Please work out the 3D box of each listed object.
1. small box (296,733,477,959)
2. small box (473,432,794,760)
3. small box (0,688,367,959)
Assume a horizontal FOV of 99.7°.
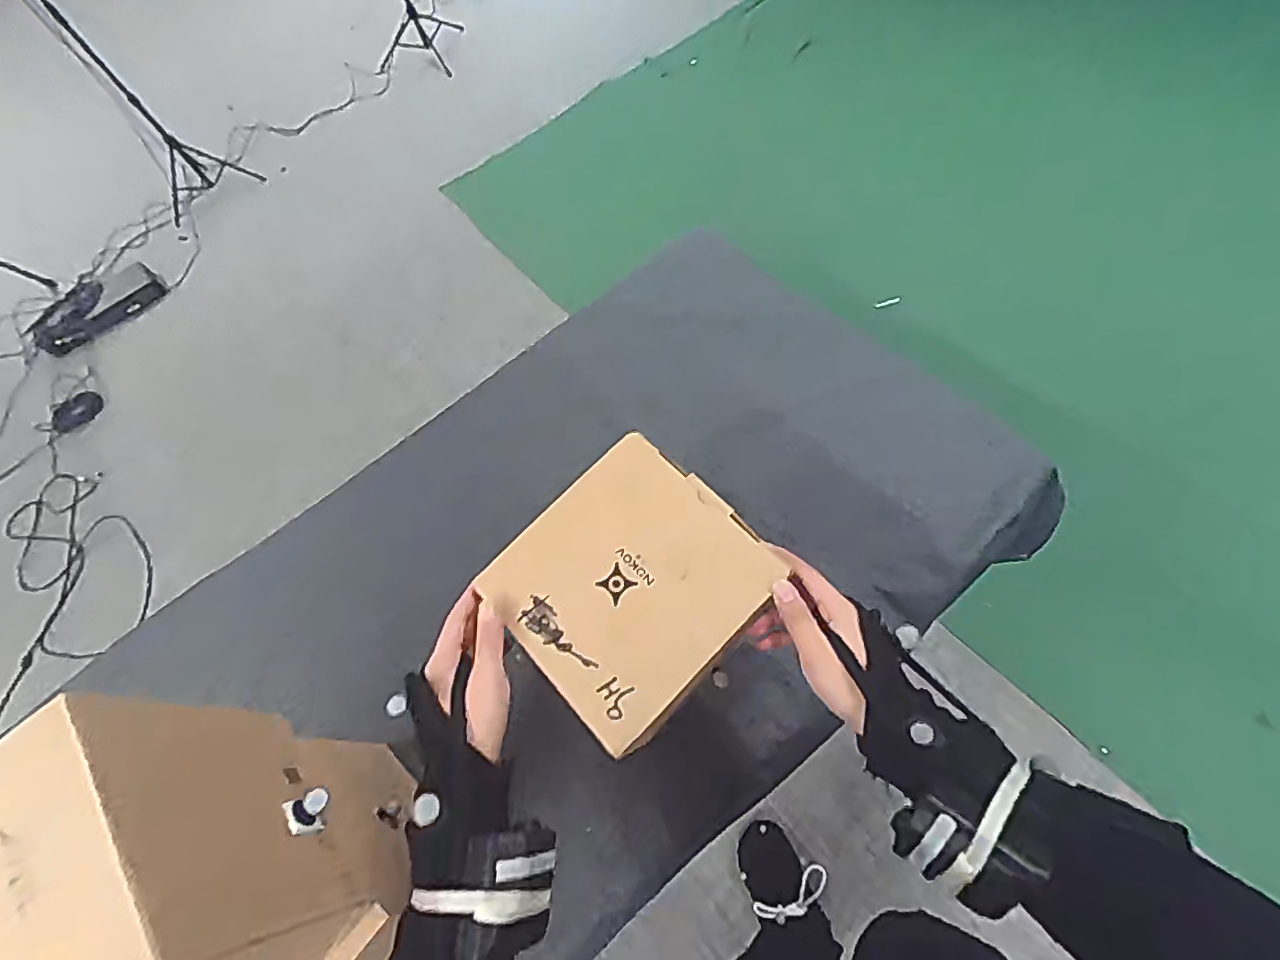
[{"bbox_3d":[-0.273,0.340,0.445,0.179,0.176,0.168,35,73,23],"label":"small box"},{"bbox_3d":[0.001,0.098,0.460,0.179,0.176,0.168,-44,70,-9],"label":"small box"},{"bbox_3d":[-0.305,0.253,0.311,0.168,0.176,0.179,39,74,24],"label":"small box"}]
